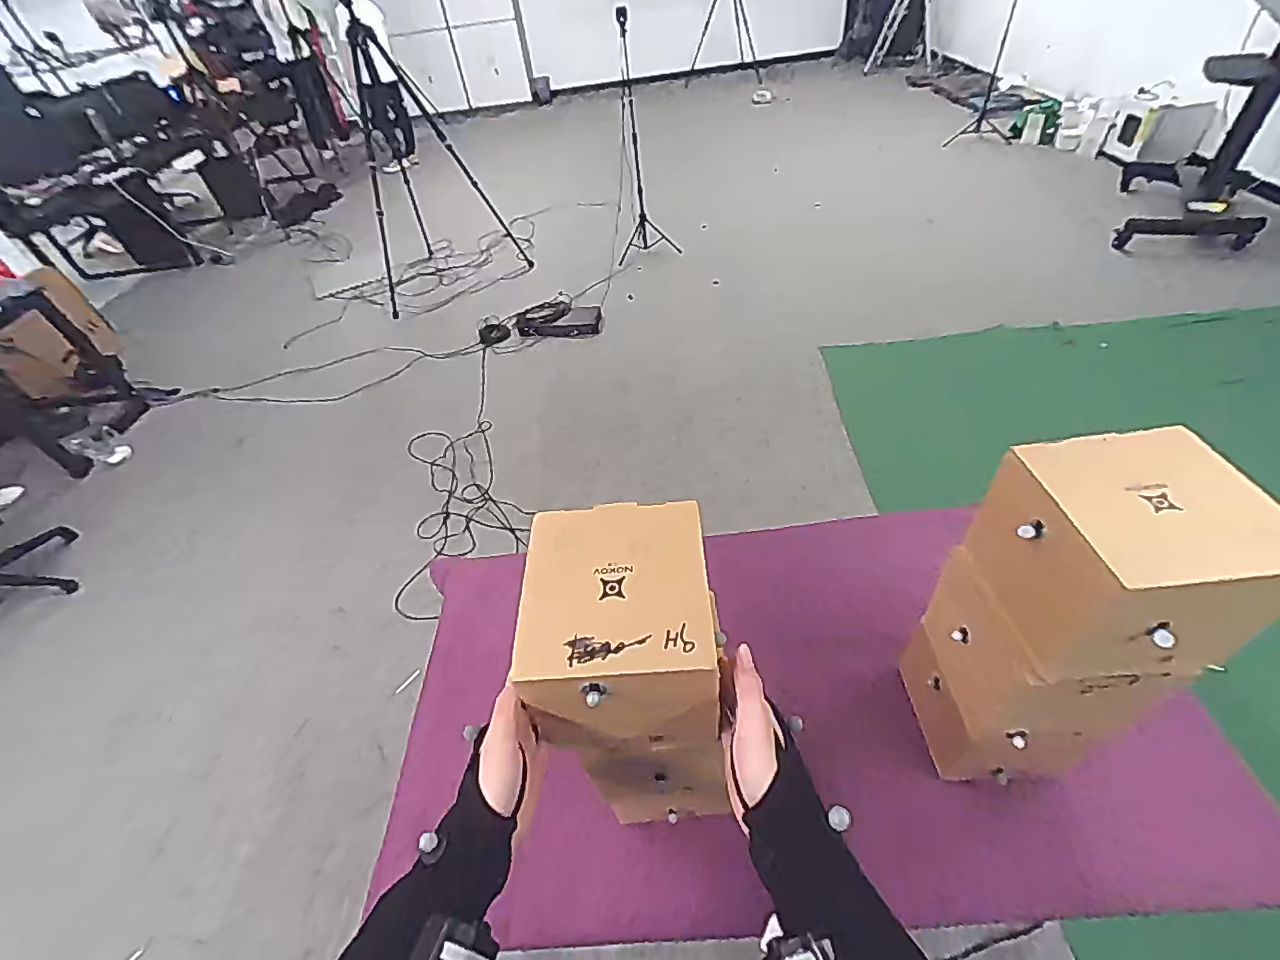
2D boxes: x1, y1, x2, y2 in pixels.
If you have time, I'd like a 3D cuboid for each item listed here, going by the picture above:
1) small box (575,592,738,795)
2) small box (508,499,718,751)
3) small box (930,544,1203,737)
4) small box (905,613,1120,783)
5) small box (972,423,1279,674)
[{"bbox_3d":[0.021,0.258,0.642,0.168,0.176,0.179,-7,46,2],"label":"small box"},{"bbox_3d":[-0.014,0.142,0.529,0.168,0.176,0.179,-6,45,5],"label":"small box"},{"bbox_3d":[0.471,0.188,0.637,0.168,0.176,0.179,-6,43,5],"label":"small box"},{"bbox_3d":[0.493,0.301,0.754,0.168,0.176,0.179,-6,45,6],"label":"small box"},{"bbox_3d":[0.462,0.072,0.524,0.168,0.176,0.179,-8,43,4],"label":"small box"}]
